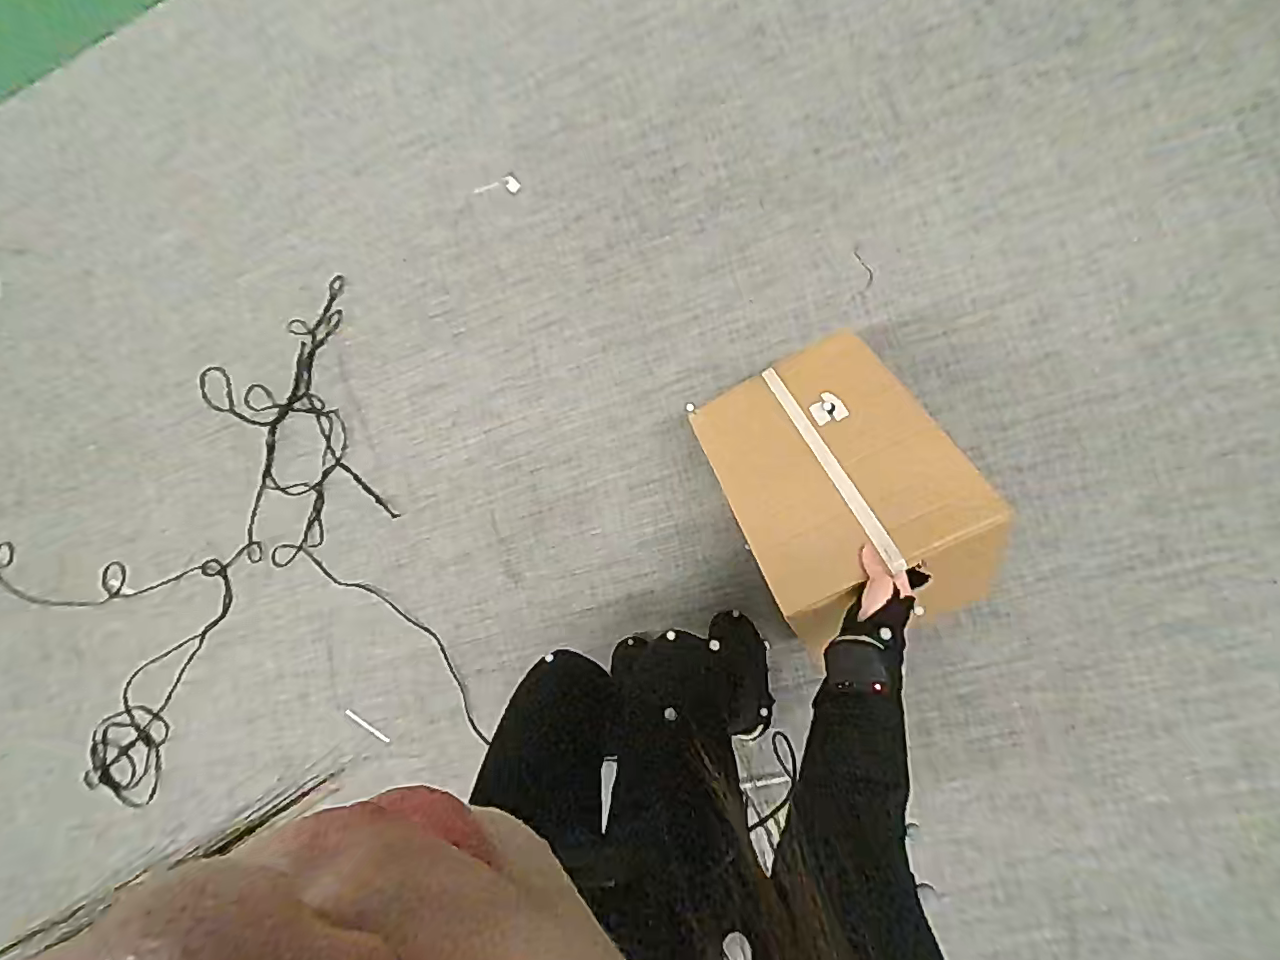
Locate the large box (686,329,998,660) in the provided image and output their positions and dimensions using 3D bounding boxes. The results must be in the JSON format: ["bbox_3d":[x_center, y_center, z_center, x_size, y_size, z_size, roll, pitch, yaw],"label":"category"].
[{"bbox_3d":[0.330,0.030,0.931,0.320,0.320,0.408,-28,49,10],"label":"large box"}]
